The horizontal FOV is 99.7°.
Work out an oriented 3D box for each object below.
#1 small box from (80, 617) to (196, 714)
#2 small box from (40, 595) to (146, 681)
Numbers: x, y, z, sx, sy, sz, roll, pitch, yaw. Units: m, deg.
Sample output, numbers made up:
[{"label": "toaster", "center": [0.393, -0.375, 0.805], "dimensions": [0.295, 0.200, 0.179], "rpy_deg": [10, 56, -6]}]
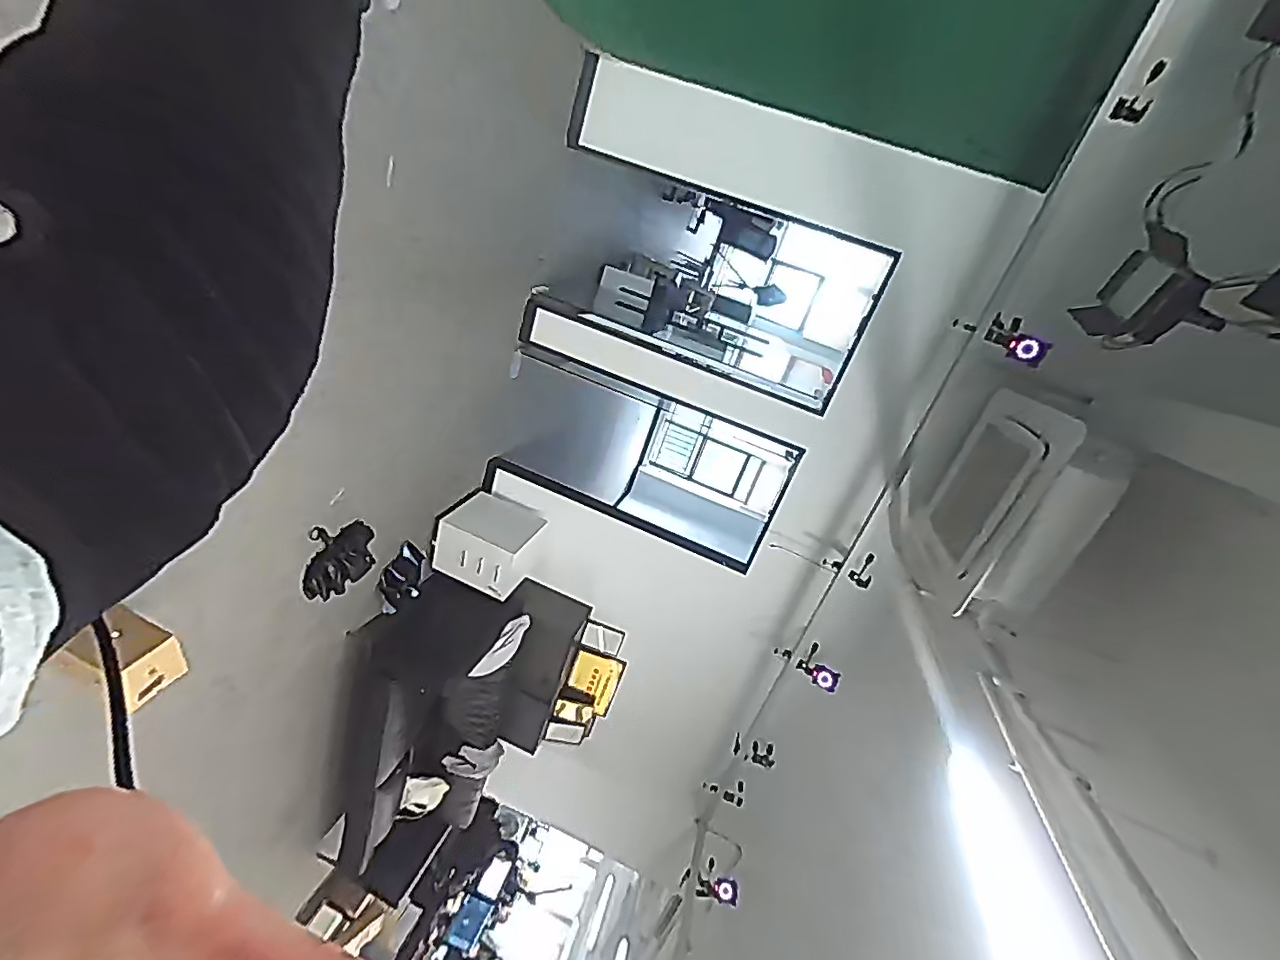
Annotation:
[{"label": "small box", "center": [-1.453, 0.532, 1.570], "dimensions": [0.168, 0.176, 0.179], "rpy_deg": [-54, 164, -55]}, {"label": "small box", "center": [-1.601, 0.467, 1.601], "dimensions": [0.168, 0.176, 0.179], "rpy_deg": [-54, 166, -53]}]
